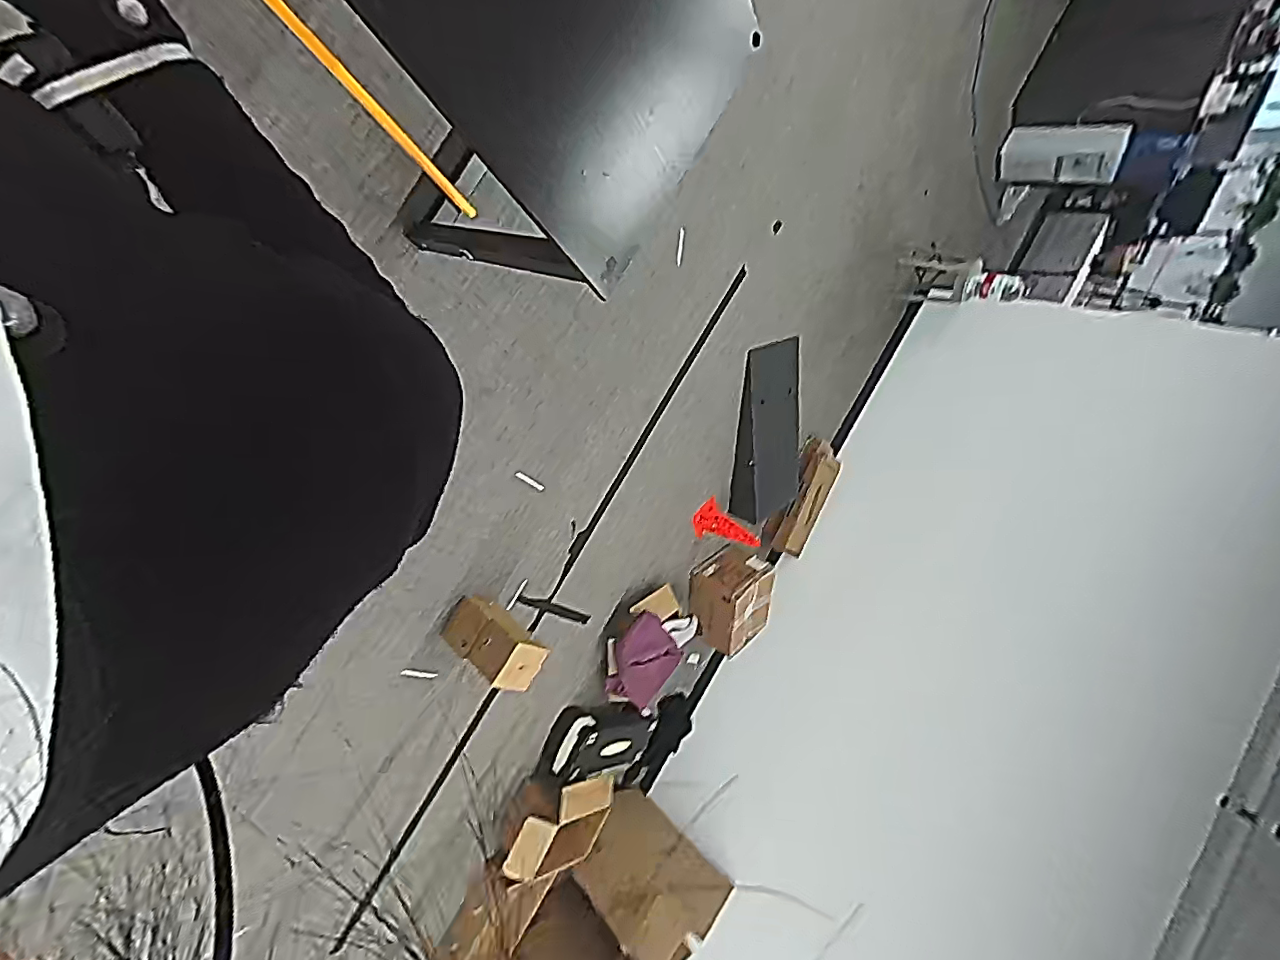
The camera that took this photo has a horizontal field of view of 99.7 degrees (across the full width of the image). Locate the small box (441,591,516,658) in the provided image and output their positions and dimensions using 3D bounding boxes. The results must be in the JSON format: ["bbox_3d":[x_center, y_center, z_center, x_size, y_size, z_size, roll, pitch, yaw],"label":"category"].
[{"bbox_3d":[-0.598,0.536,1.981,0.179,0.176,0.168,-59,143,-5],"label":"small box"}]

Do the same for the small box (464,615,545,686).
[{"bbox_3d":[-0.474,0.596,1.894,0.168,0.176,0.179,-59,142,-6],"label":"small box"}]
